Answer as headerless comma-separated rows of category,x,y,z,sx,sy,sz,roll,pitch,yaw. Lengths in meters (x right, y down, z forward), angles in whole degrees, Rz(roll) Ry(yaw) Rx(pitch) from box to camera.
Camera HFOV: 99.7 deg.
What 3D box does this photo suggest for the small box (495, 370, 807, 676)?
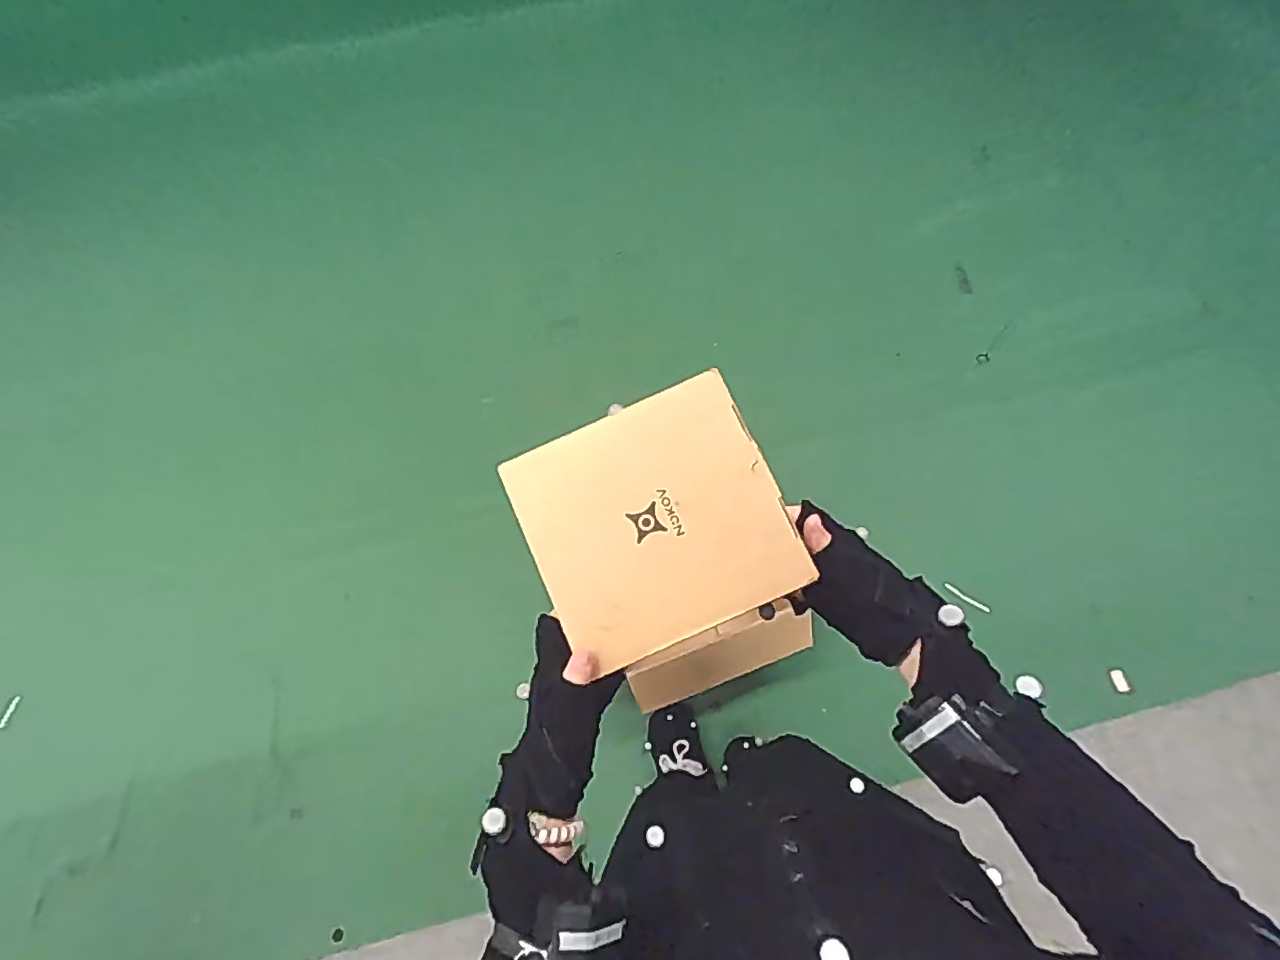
small box,0.010,0.040,0.452,0.179,0.176,0.168,-24,80,0
